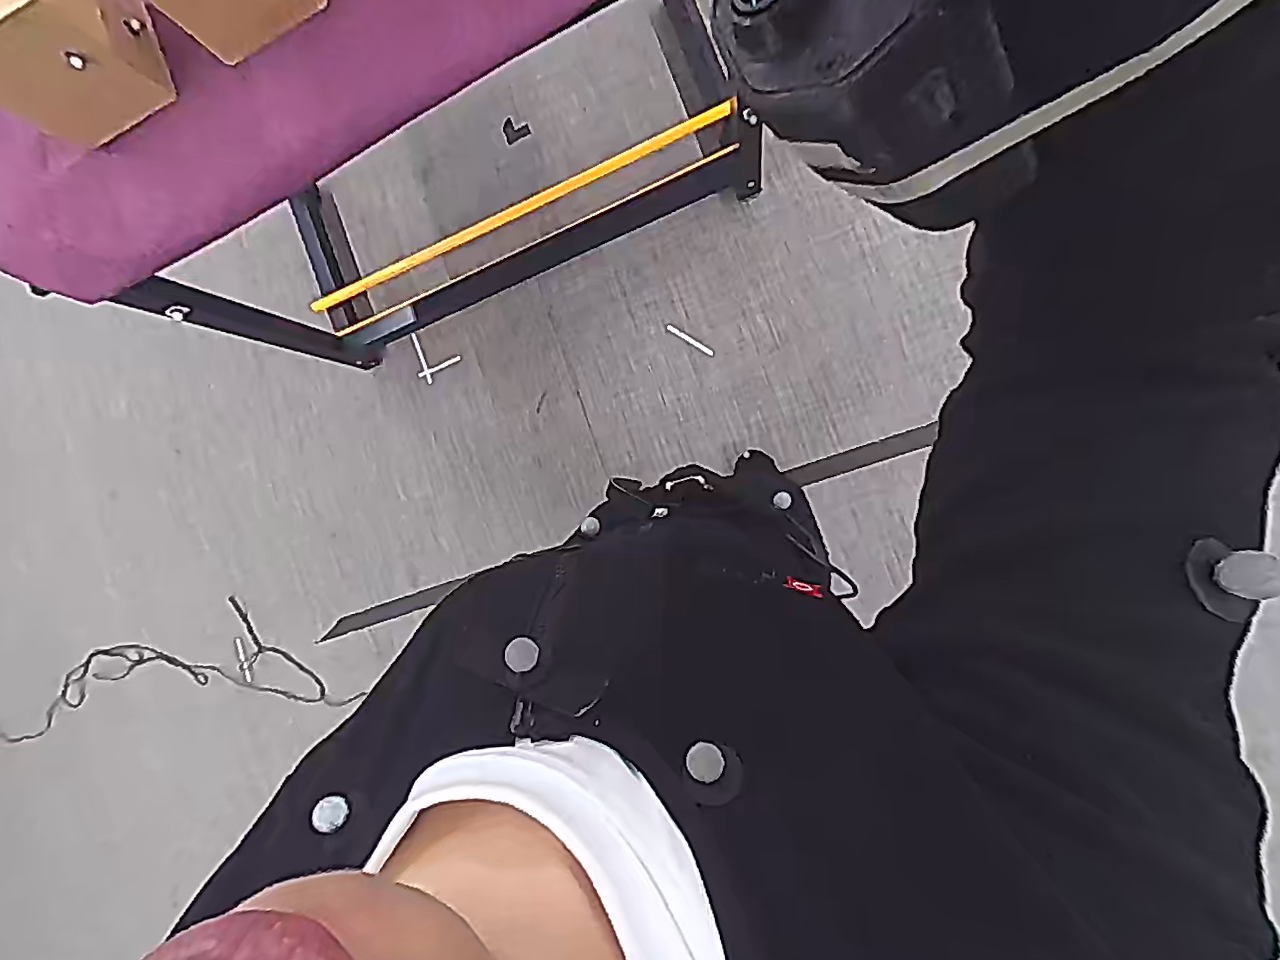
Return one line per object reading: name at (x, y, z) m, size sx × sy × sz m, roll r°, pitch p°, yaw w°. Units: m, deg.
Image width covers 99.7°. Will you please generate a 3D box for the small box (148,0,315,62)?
small box at (-0.541, -0.689, 0.675) m, size 0.179 × 0.176 × 0.168 m, roll -20°, pitch 86°, yaw 11°
